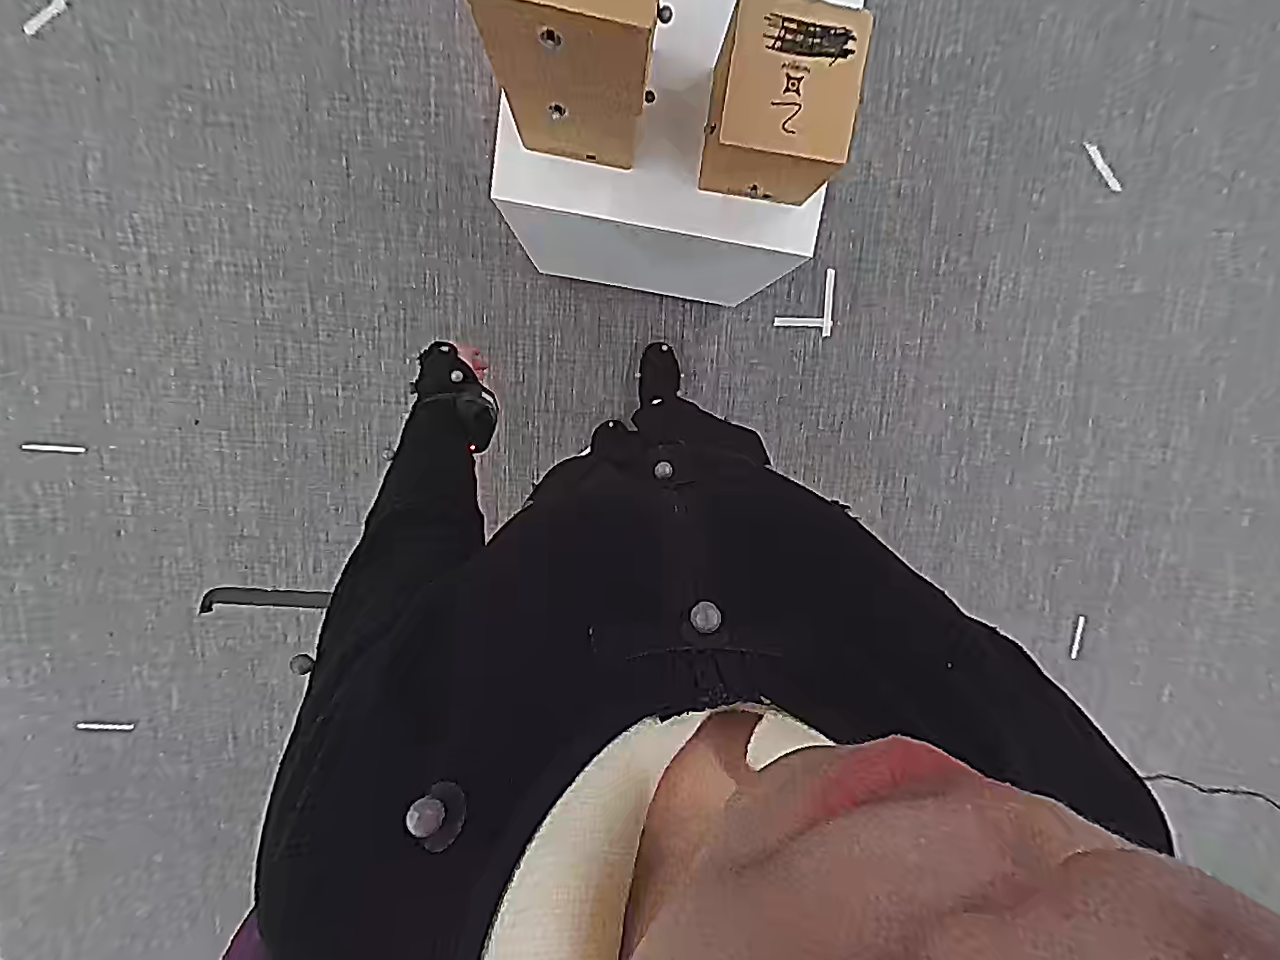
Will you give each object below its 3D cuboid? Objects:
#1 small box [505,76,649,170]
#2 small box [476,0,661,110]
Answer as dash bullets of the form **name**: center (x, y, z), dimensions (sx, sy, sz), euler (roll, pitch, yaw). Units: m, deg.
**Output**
- **small box**: center (-0.072, -0.549, 0.714), dimensions (0.168, 0.176, 0.179), euler (10, 98, -4)
- **small box**: center (-0.065, -0.517, 0.552), dimensions (0.179, 0.176, 0.168), euler (9, 100, -5)
